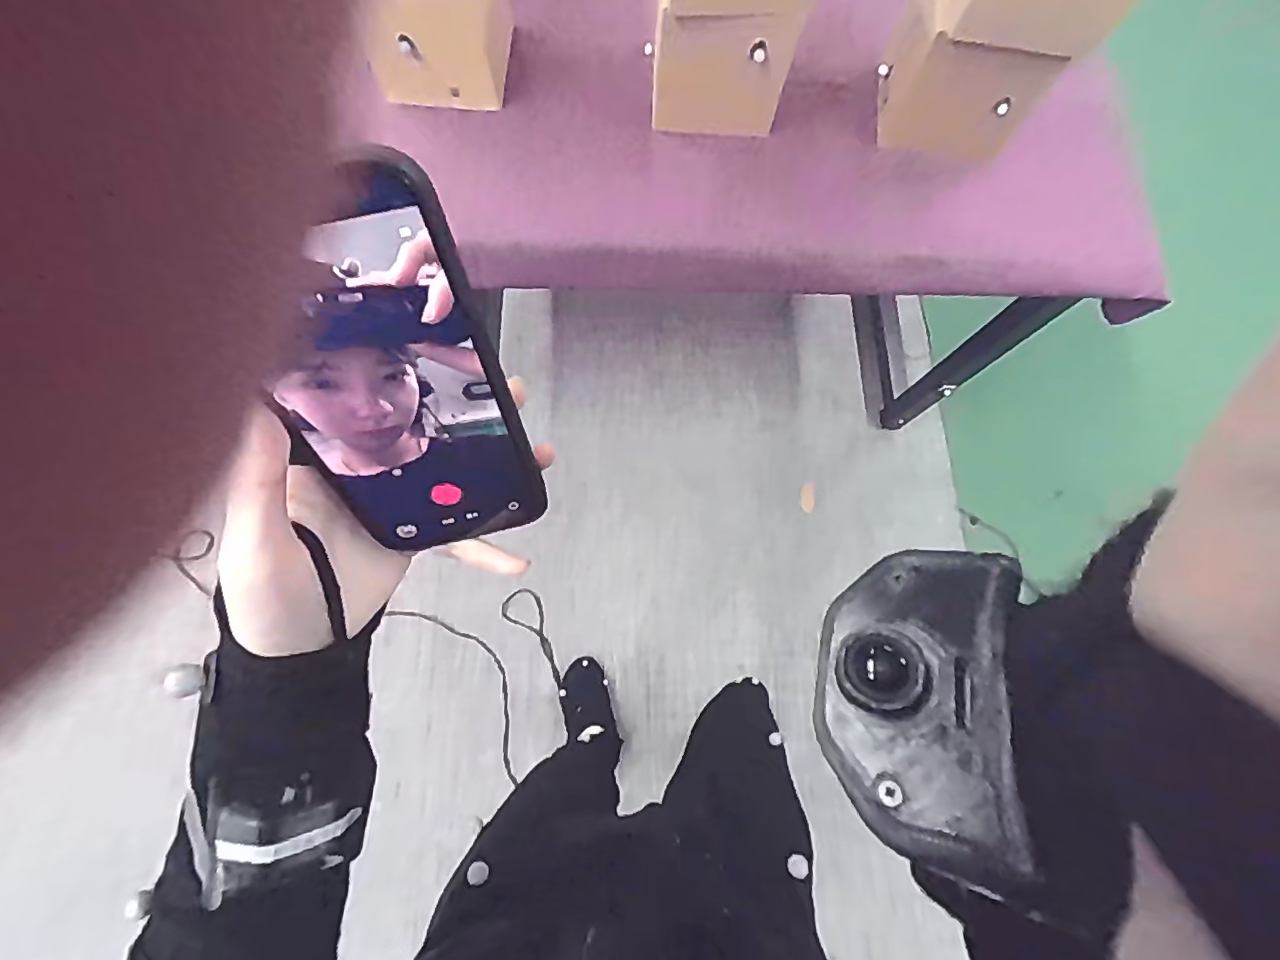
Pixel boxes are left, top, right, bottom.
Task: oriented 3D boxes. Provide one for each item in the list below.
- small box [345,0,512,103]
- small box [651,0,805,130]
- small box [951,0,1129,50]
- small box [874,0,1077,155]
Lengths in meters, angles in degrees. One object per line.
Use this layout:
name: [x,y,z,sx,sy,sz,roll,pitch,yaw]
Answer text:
small box: [-0.278,-0.655,0.736,0.168,0.176,0.179,3,75,-1]
small box: [0.111,-0.616,0.739,0.179,0.176,0.168,3,75,-1]
small box: [0.464,-0.612,0.583,0.179,0.176,0.168,9,75,0]
small box: [0.450,-0.586,0.744,0.179,0.176,0.168,9,75,0]
